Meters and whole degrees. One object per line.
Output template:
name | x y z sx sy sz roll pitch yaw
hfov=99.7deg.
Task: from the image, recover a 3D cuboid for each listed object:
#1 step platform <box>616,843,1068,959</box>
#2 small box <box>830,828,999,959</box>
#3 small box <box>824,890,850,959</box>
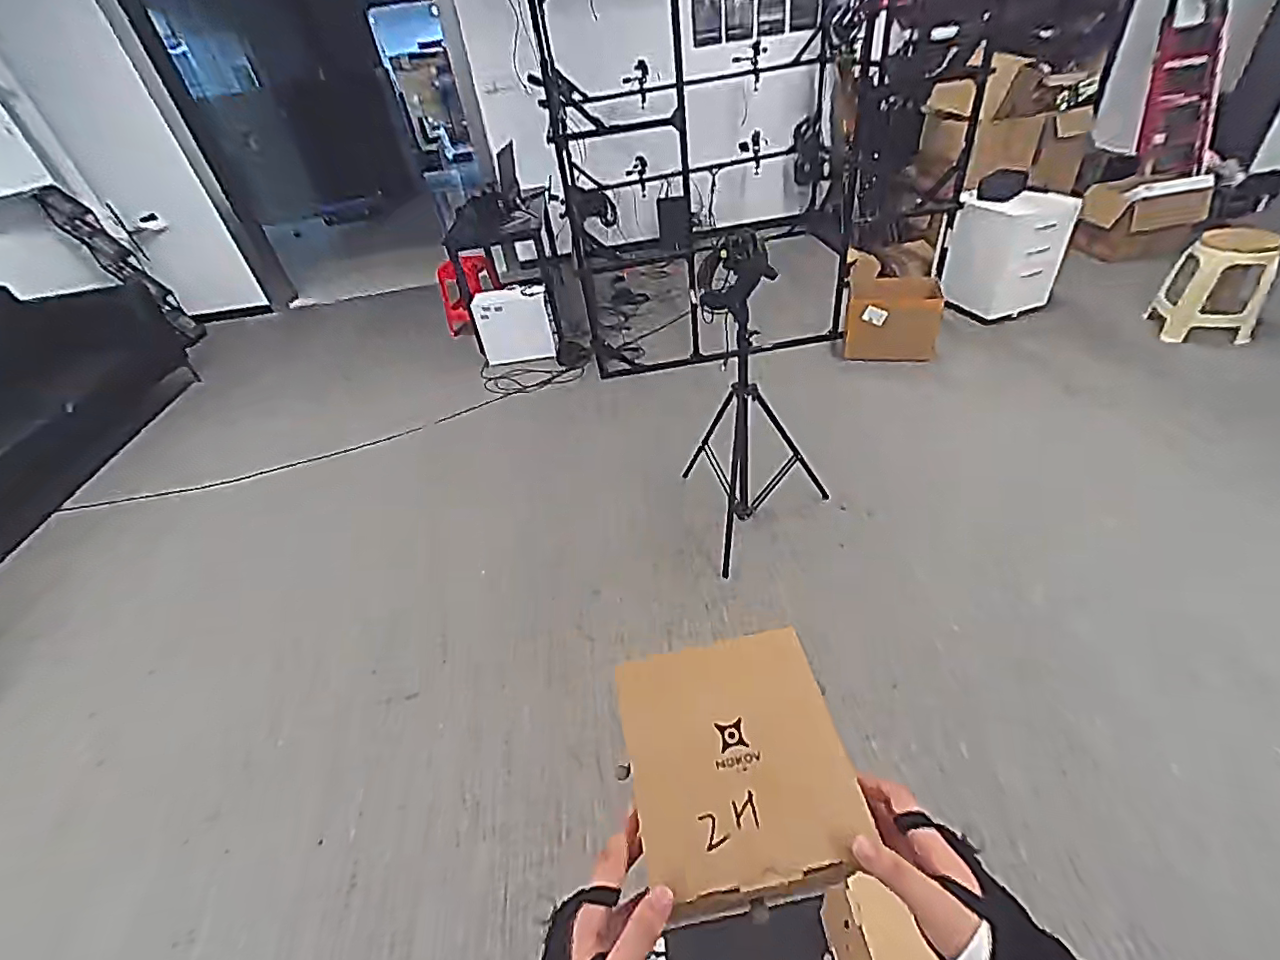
step platform | 0.311 0.831 0.857 0.684 0.204 0.286 -10 38 -3
small box | 0.403 0.670 0.834 0.179 0.176 0.168 -9 38 1
small box | 0.424 0.808 0.922 0.179 0.176 0.168 -11 38 0
